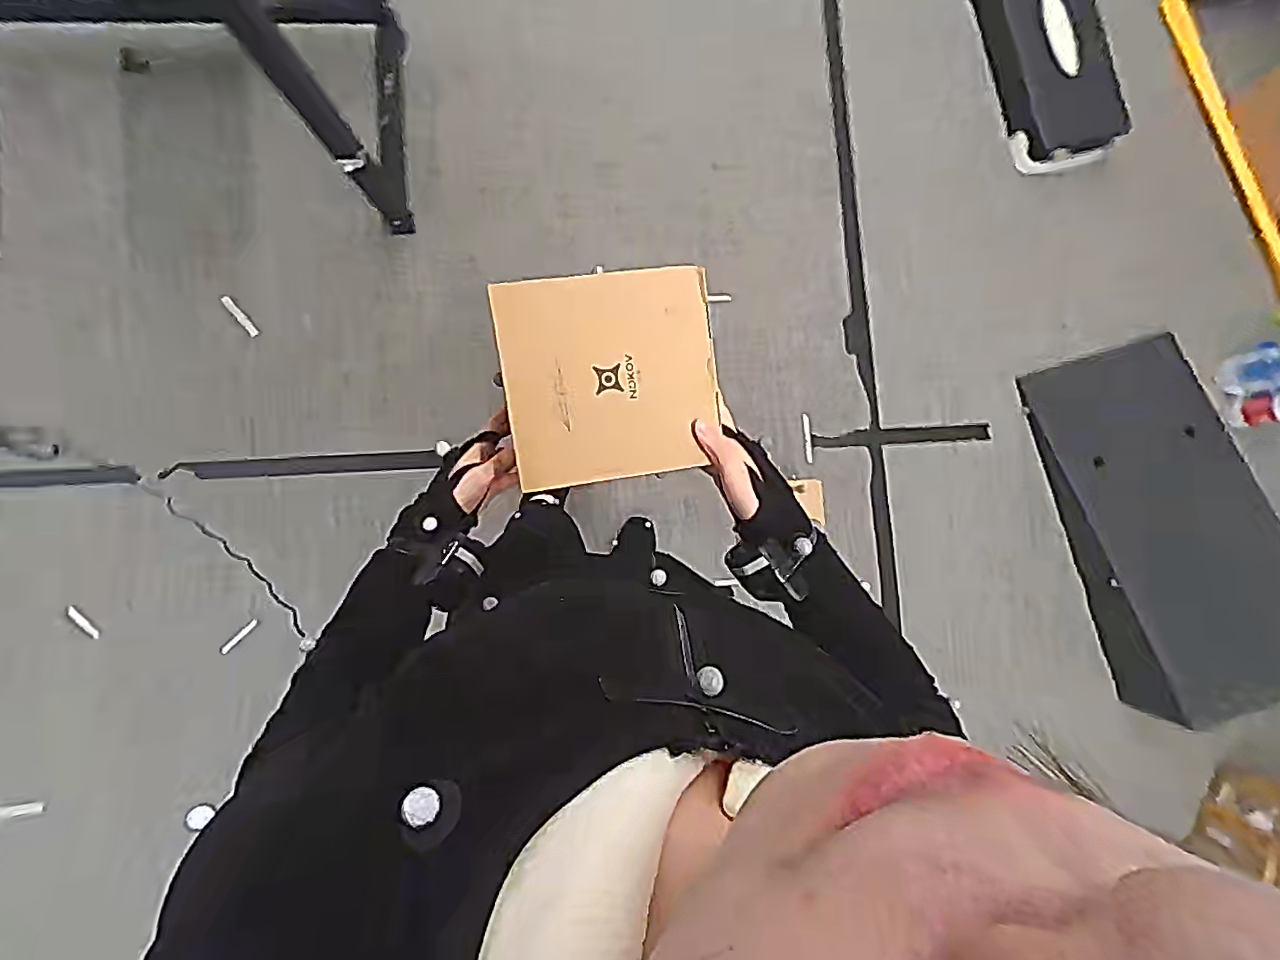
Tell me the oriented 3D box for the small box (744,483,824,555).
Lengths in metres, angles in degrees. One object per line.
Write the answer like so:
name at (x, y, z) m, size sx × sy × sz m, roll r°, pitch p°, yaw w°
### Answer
small box at (0.375, 0.099, 1.427) m, size 0.168 × 0.176 × 0.179 m, roll -2°, pitch 90°, yaw -3°

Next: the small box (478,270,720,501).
small box at (-0.041, -0.085, 0.502) m, size 0.179 × 0.176 × 0.168 m, roll -9°, pitch 98°, yaw -8°
